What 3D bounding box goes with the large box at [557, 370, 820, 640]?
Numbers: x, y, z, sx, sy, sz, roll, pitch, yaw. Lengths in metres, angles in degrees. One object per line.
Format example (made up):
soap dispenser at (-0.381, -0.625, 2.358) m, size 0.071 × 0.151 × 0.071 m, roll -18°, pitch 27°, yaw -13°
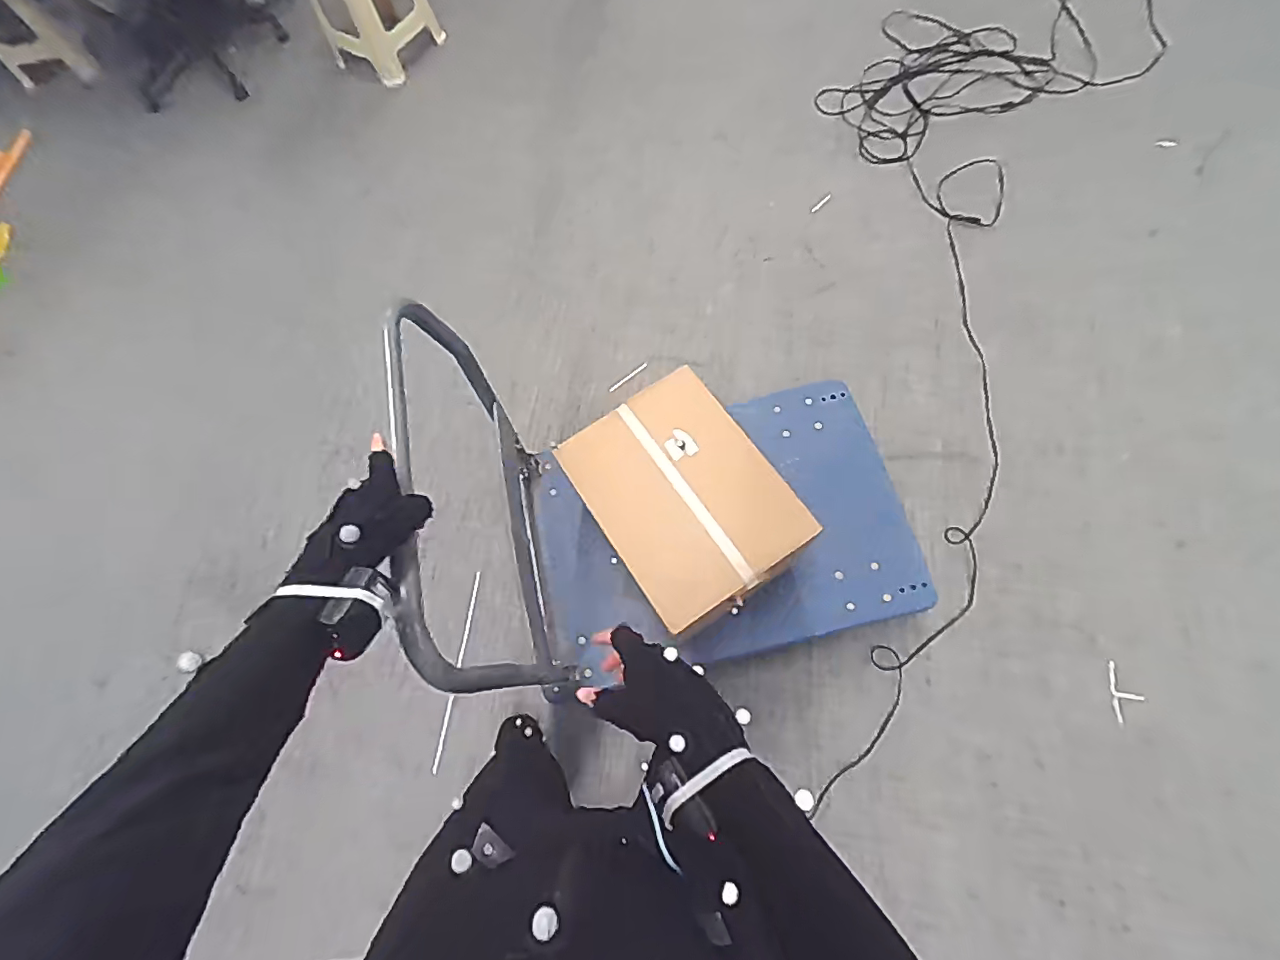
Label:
large box at (0.094, 0.066, 1.110) m, size 0.320 × 0.320 × 0.408 m, roll -33°, pitch 69°, yaw -7°
